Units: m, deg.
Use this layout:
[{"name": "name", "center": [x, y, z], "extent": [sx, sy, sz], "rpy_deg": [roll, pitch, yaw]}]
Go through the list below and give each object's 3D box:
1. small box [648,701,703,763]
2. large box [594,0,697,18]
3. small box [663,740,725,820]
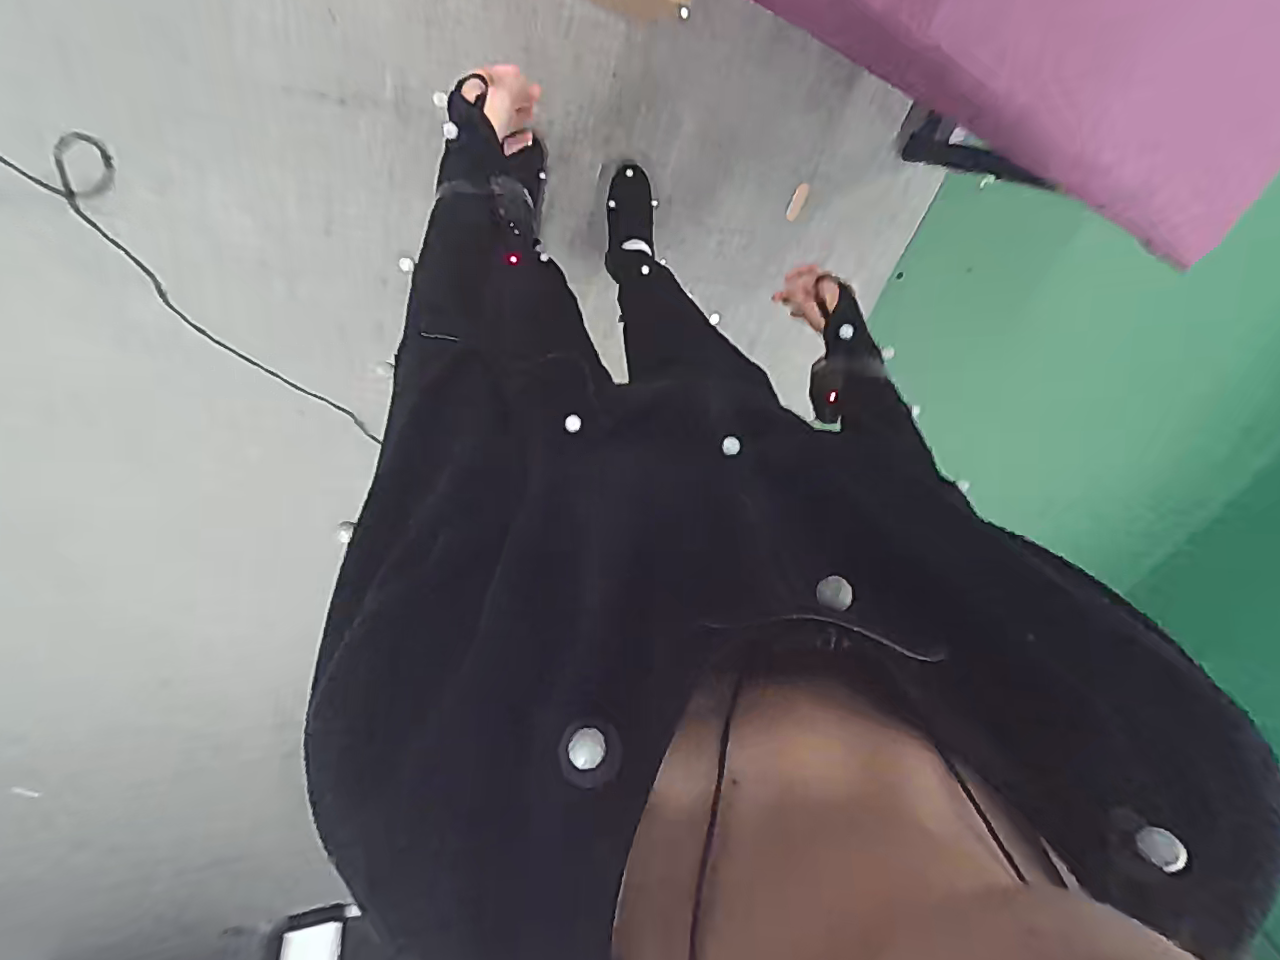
[{"name": "small box", "center": [0.144, 0.972, 2.045], "extent": [0.168, 0.176, 0.179], "rpy_deg": [-22, 130, -5]}, {"name": "large box", "center": [-0.041, -0.979, 0.779], "extent": [0.320, 0.320, 0.408], "rpy_deg": [5, 125, -24]}, {"name": "small box", "center": [0.191, 1.058, 1.913], "extent": [0.168, 0.176, 0.179], "rpy_deg": [-18, 129, -9]}]
